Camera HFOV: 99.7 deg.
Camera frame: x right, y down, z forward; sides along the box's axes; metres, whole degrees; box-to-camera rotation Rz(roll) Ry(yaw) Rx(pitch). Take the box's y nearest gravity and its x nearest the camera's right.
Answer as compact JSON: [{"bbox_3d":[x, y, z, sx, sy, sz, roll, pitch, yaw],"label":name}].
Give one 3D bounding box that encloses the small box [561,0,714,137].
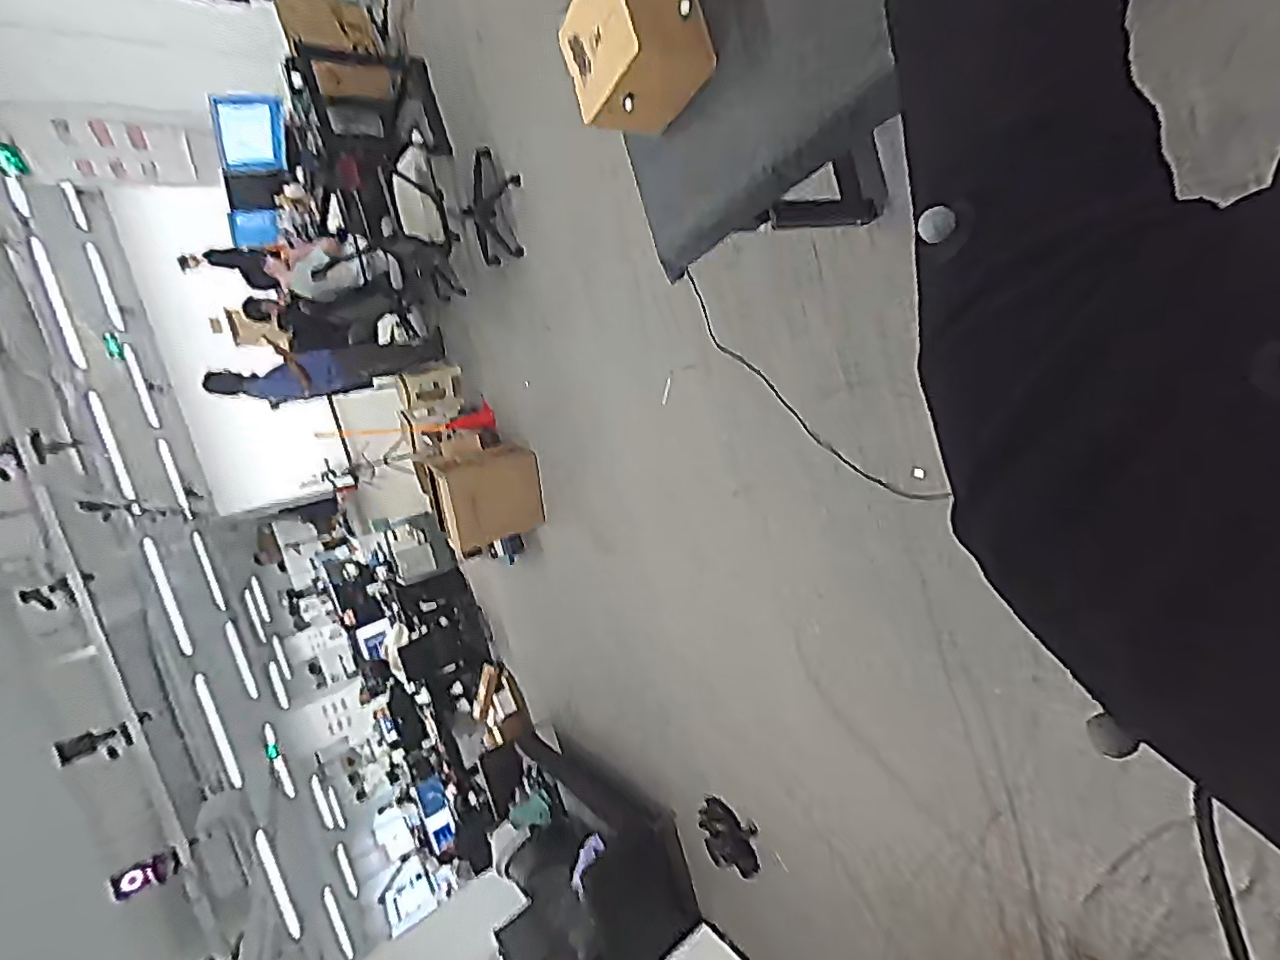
[{"bbox_3d":[-0.006,-0.716,0.917,0.179,0.176,0.168,-15,93,56],"label":"small box"}]
